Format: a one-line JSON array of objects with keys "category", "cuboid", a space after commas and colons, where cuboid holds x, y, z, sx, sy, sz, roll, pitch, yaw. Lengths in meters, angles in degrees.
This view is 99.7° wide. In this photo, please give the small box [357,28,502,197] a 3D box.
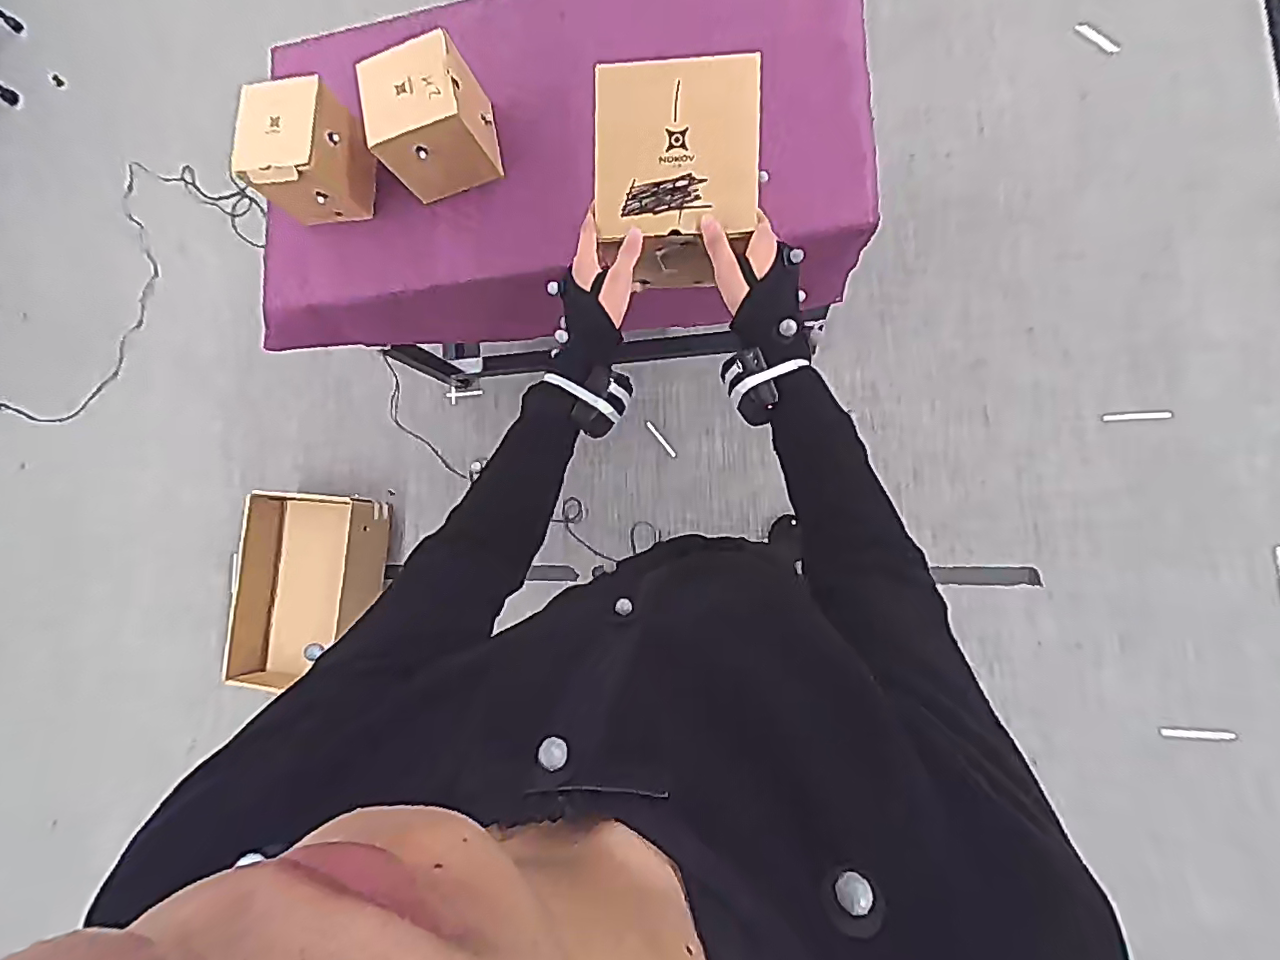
[{"category": "small box", "cuboid": [-0.378, -0.656, 0.990, 0.179, 0.176, 0.168, -12, 83, 10]}]

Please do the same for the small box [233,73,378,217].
[{"category": "small box", "cuboid": [-0.633, -0.629, 1.041, 0.168, 0.176, 0.179, 2, 85, 11]}]

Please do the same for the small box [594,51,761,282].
[{"category": "small box", "cuboid": [0.045, -0.334, 0.615, 0.168, 0.176, 0.179, 1, 92, 6]}]
